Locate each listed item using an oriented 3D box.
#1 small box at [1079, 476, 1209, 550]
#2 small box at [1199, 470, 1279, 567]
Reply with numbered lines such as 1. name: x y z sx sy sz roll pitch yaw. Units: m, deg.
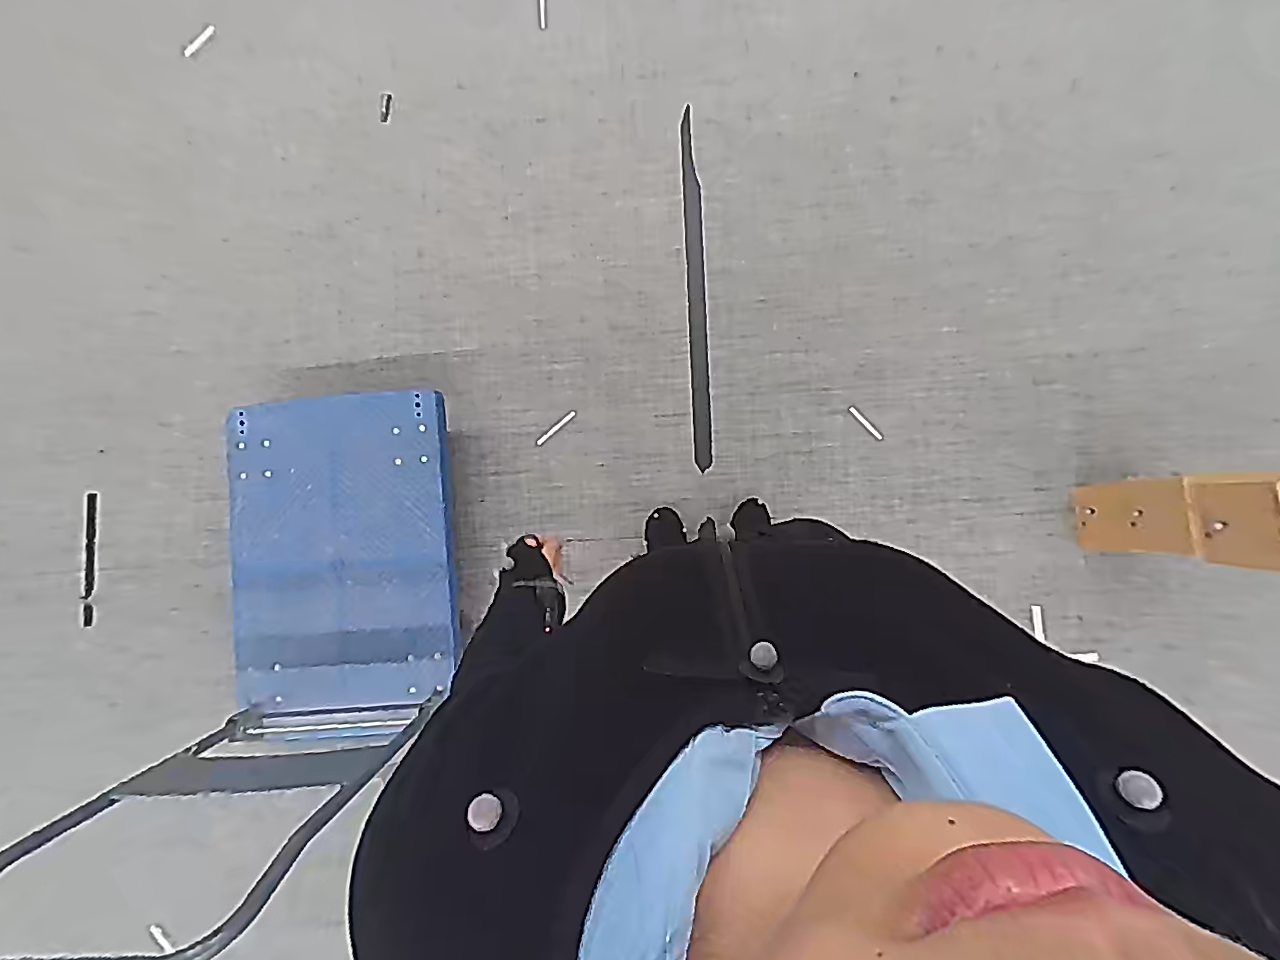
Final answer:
1. small box: 1.248 0.079 1.342 0.179 0.176 0.168 -5 87 5
2. small box: 1.229 0.066 1.013 0.179 0.176 0.168 -9 86 5
